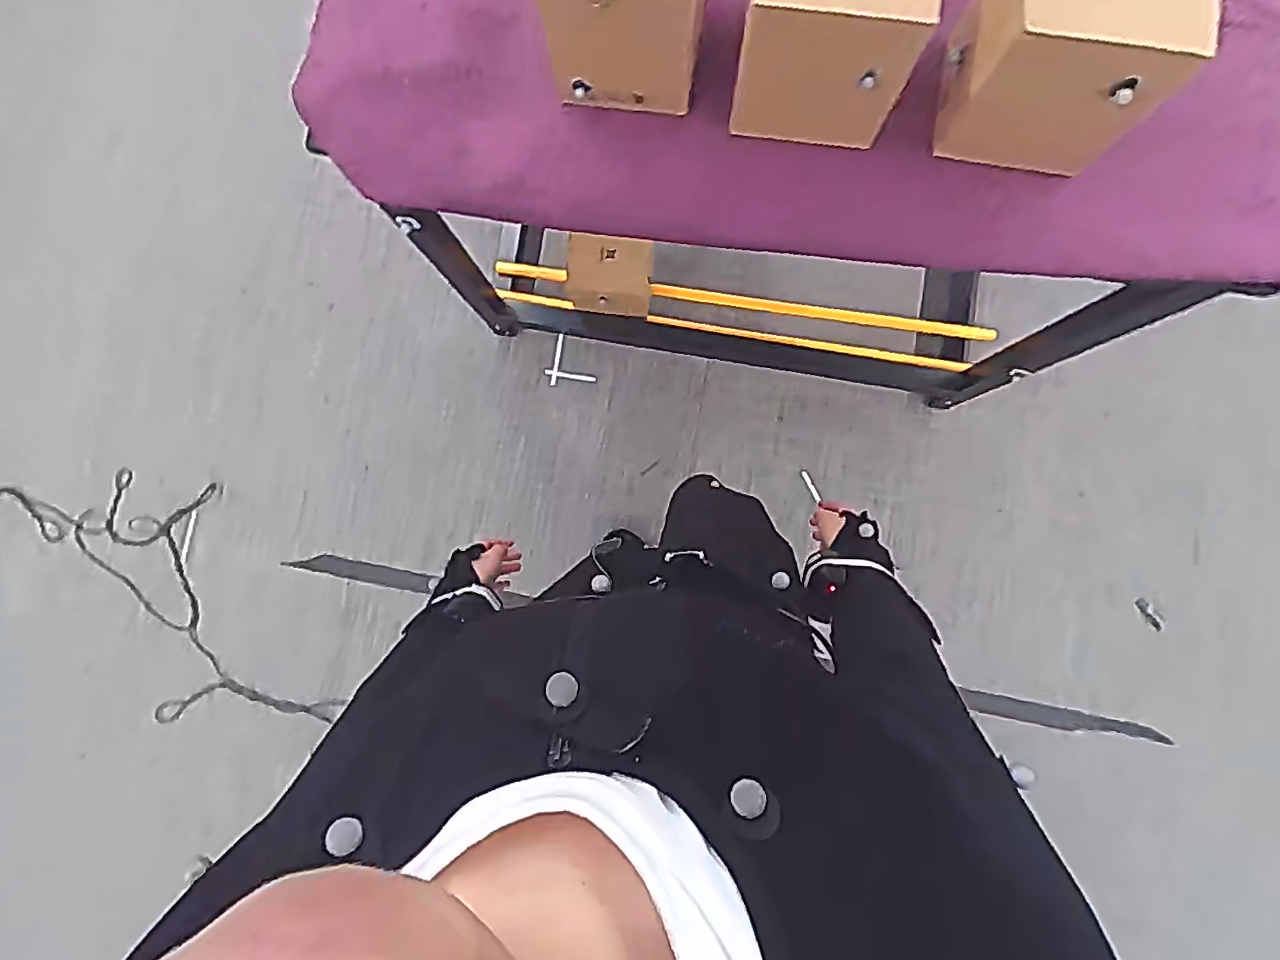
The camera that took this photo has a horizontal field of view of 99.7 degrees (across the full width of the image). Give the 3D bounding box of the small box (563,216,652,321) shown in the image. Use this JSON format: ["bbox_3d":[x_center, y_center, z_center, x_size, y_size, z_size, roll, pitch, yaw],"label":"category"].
[{"bbox_3d":[-0.066,-0.471,1.226,0.179,0.176,0.168,5,88,3],"label":"small box"}]
